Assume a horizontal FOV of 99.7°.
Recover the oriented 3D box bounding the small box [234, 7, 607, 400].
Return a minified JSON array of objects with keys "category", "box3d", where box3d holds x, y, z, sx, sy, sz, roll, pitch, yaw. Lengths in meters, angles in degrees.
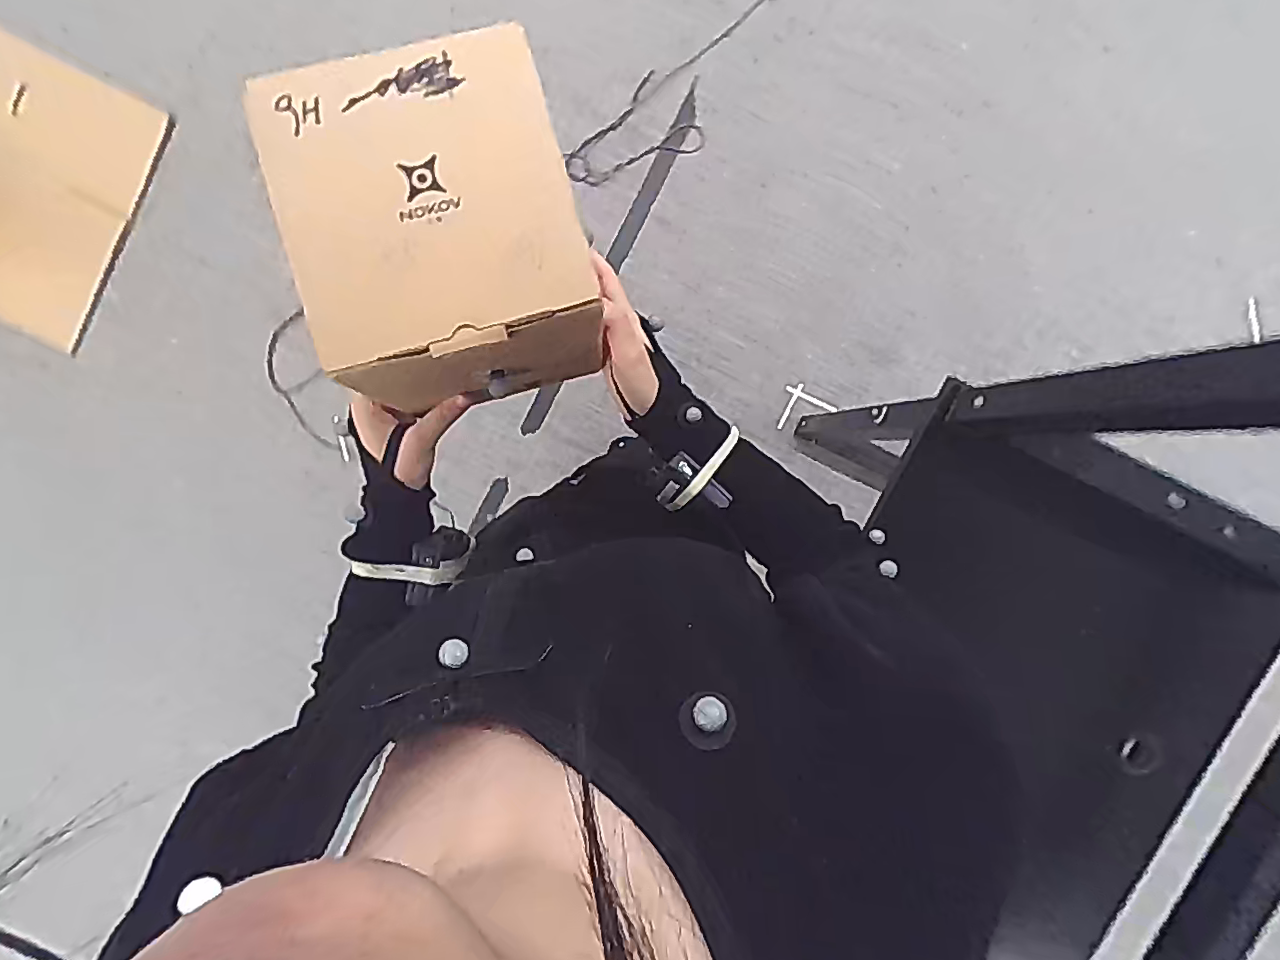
[{"category":"small box","box3d":[-0.126,-0.162,0.379,0.168,0.176,0.179,-17,90,-7]}]
